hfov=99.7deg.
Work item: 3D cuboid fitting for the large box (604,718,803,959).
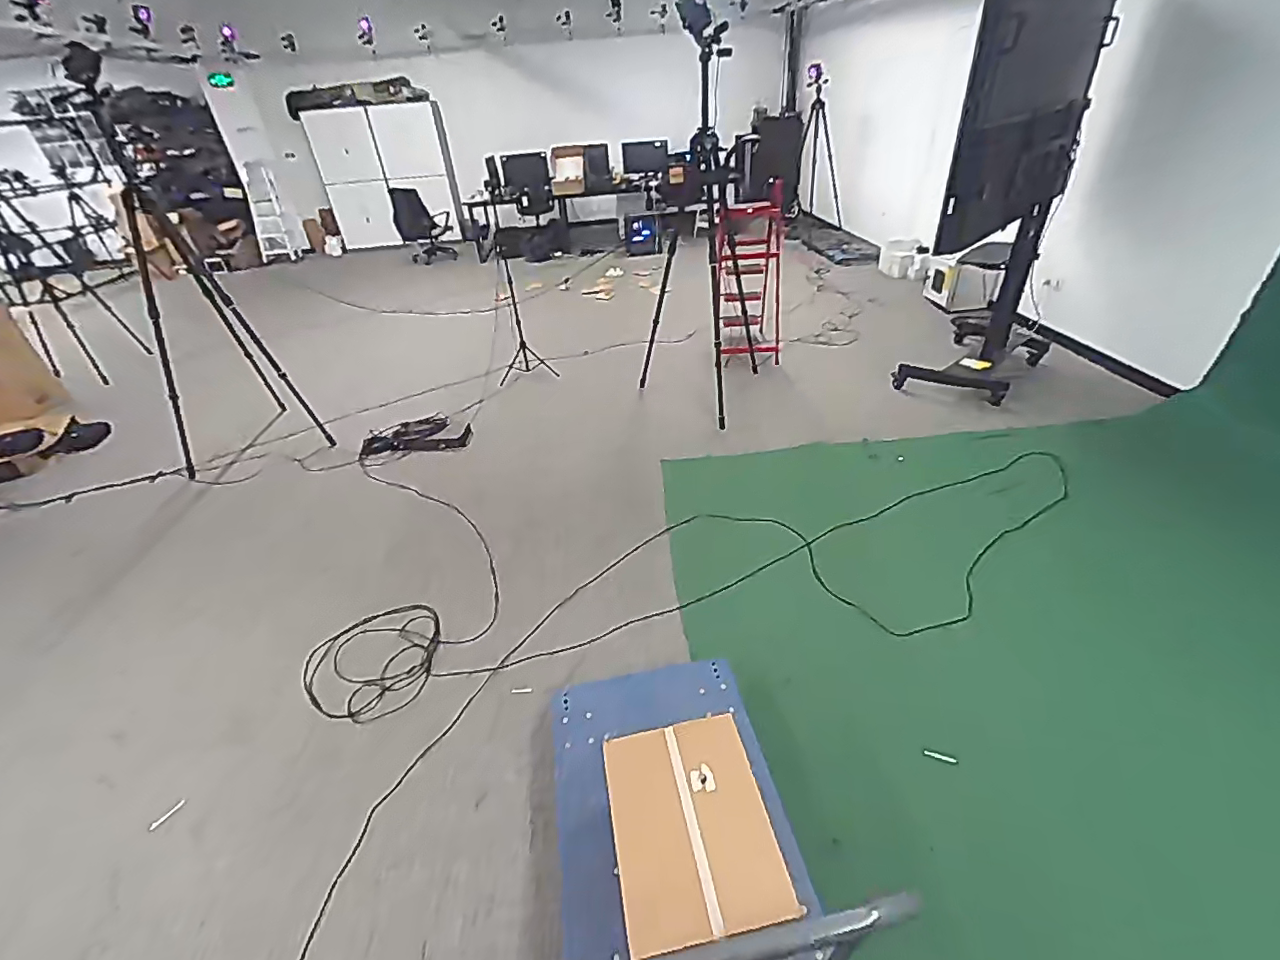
[{"bbox_3d":[0.118,0.817,1.179,0.320,0.320,0.408,-9,34,-7],"label":"large box"}]
